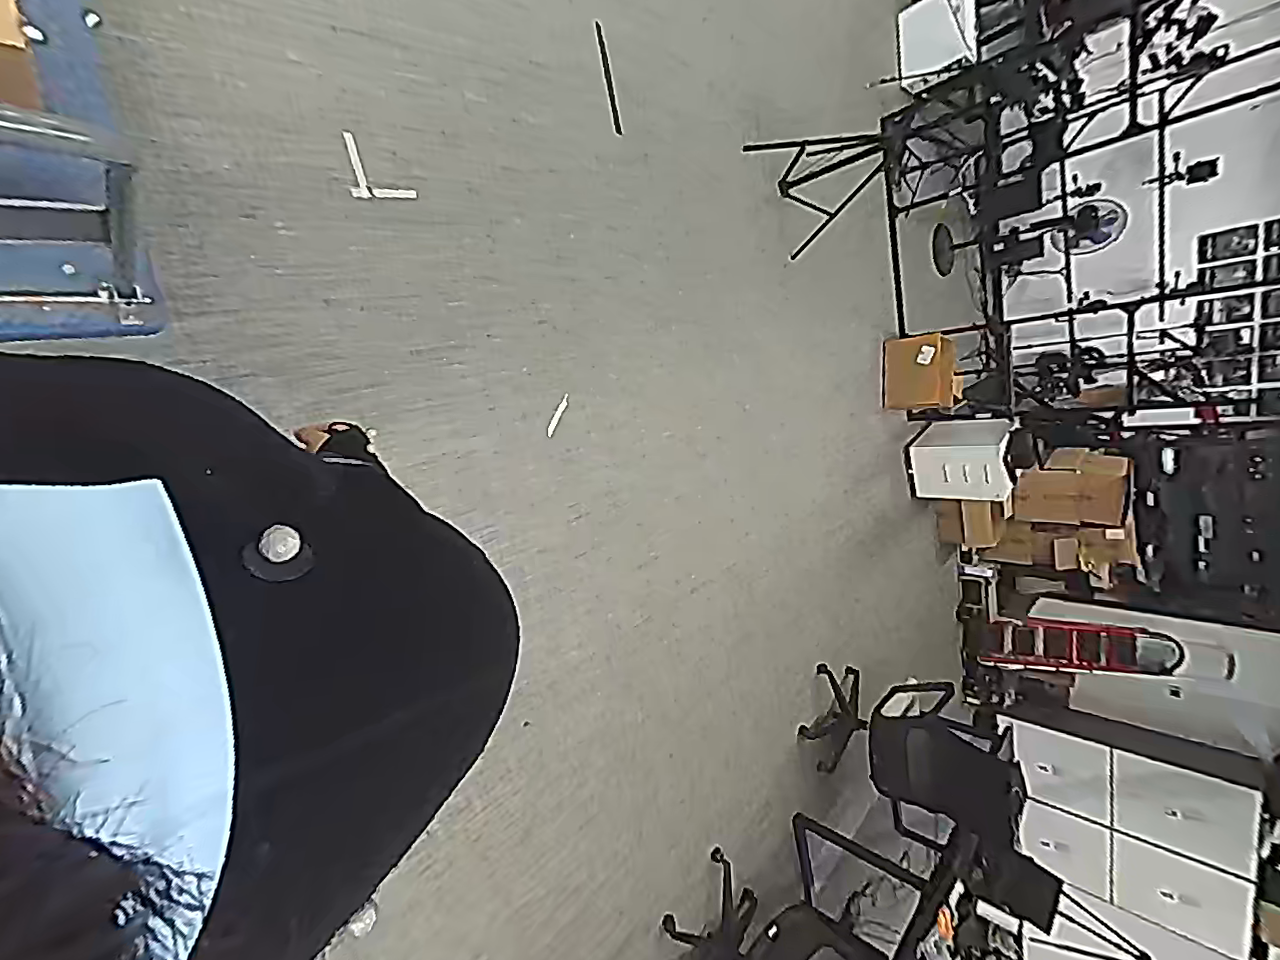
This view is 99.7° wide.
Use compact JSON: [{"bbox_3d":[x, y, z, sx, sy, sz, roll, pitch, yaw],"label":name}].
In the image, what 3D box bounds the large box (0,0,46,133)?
[{"bbox_3d":[-1.064,-0.684,0.651,0.408,0.320,0.320,-14,101,-41],"label":"large box"}]
